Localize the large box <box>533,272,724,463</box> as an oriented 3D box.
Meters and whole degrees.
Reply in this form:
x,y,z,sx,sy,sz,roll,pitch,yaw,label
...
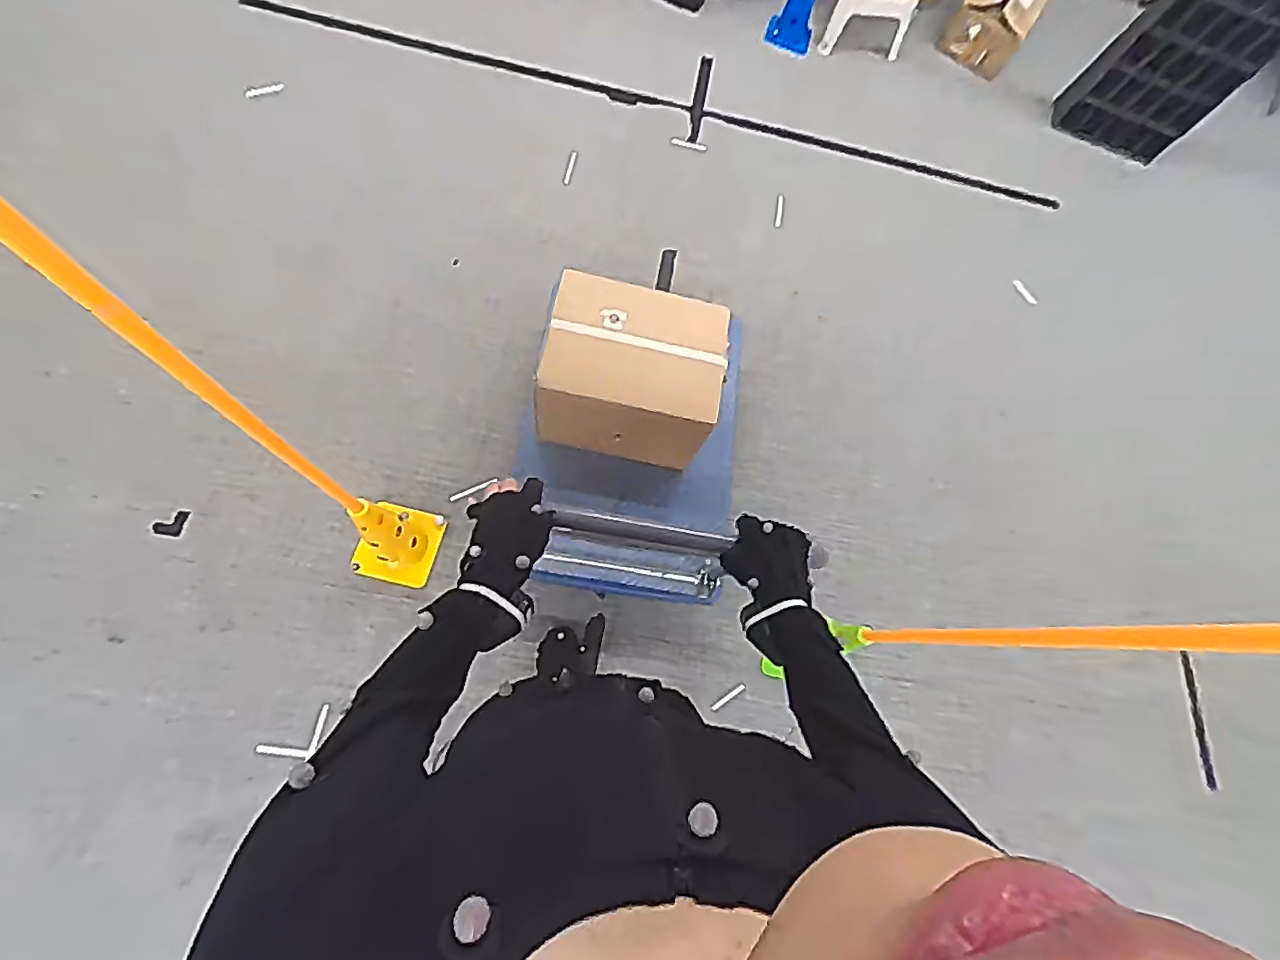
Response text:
x,y,z,sx,sy,sz,roll,pitch,yaw,label
-0.032,-0.262,1.362,0.408,0.320,0.320,11,70,-4,large box

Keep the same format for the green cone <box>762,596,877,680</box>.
x,y,z,sx,sy,sz,roll,pitch,yaw,label
0.474,0.388,1.366,0.202,0.368,0.200,16,69,-4,green cone
